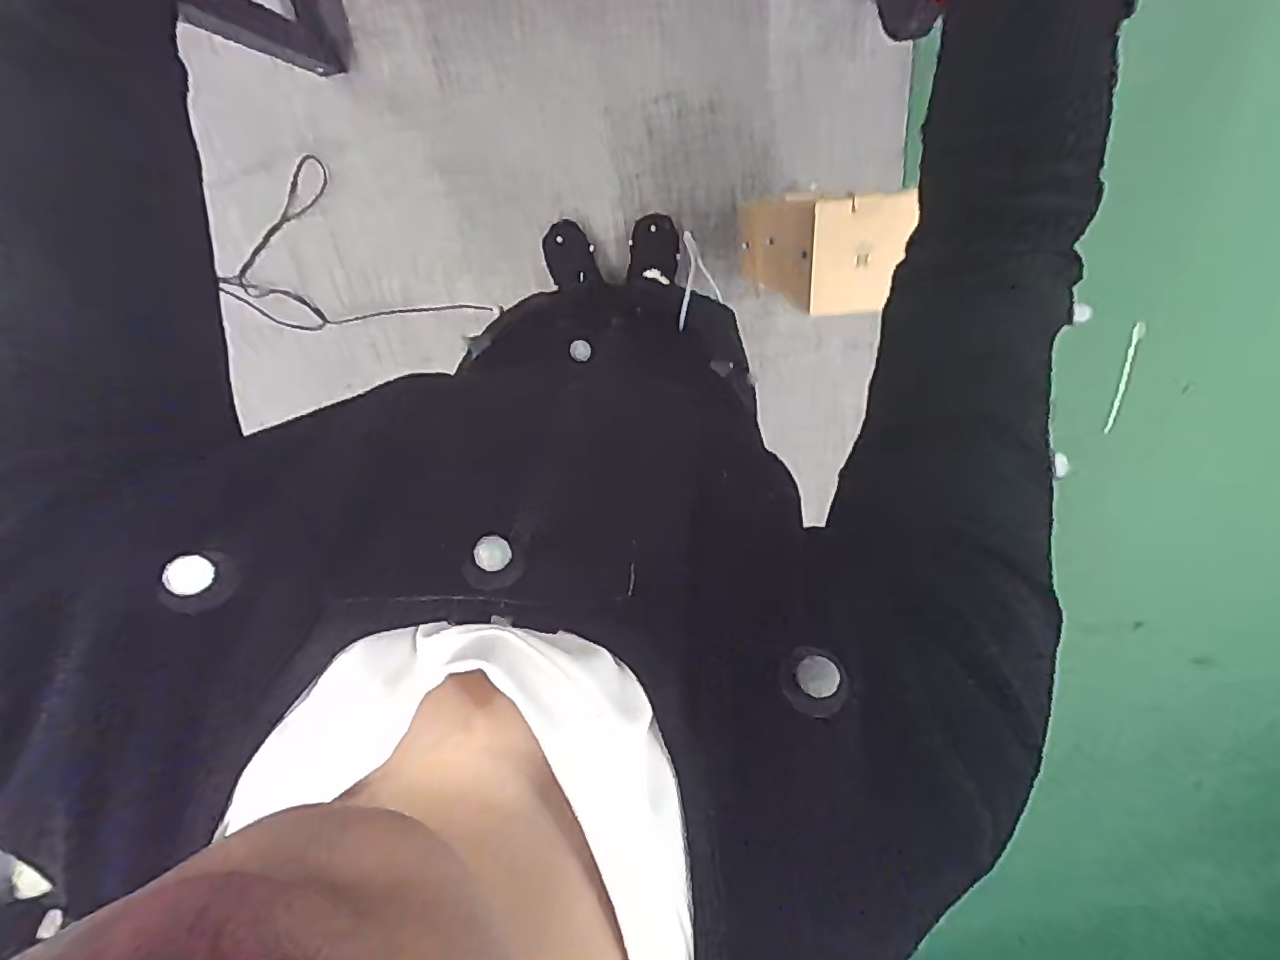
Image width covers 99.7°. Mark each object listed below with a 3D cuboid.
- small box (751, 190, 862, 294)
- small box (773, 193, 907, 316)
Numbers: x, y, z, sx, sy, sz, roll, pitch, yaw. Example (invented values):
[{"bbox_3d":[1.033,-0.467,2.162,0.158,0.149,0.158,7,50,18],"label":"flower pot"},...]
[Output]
[{"bbox_3d":[0.324,-0.482,1.088,0.168,0.176,0.179,-5,117,-1],"label":"small box"},{"bbox_3d":[0.337,-0.399,0.949,0.168,0.176,0.179,-6,118,0],"label":"small box"}]
